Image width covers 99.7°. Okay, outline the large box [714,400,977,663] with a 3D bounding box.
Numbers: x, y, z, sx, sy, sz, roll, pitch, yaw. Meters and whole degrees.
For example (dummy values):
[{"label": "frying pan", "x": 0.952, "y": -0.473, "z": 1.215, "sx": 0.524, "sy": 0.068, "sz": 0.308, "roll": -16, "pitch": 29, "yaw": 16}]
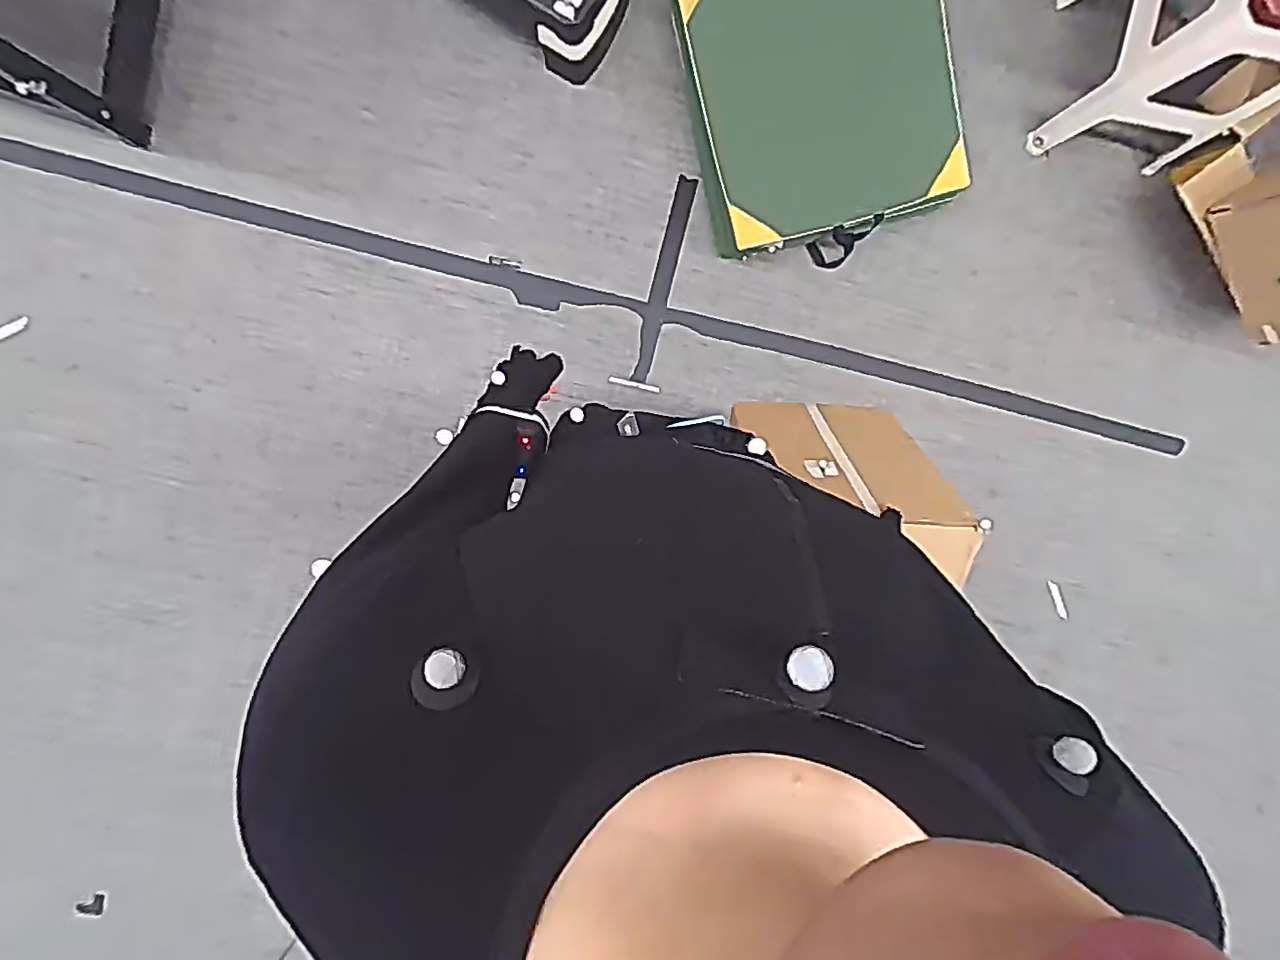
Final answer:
[{"label": "large box", "x": 0.326, "y": 0.079, "z": 1.014, "sx": 0.320, "sy": 0.408, "sz": 0.320, "roll": 1, "pitch": 124, "yaw": 1}]
